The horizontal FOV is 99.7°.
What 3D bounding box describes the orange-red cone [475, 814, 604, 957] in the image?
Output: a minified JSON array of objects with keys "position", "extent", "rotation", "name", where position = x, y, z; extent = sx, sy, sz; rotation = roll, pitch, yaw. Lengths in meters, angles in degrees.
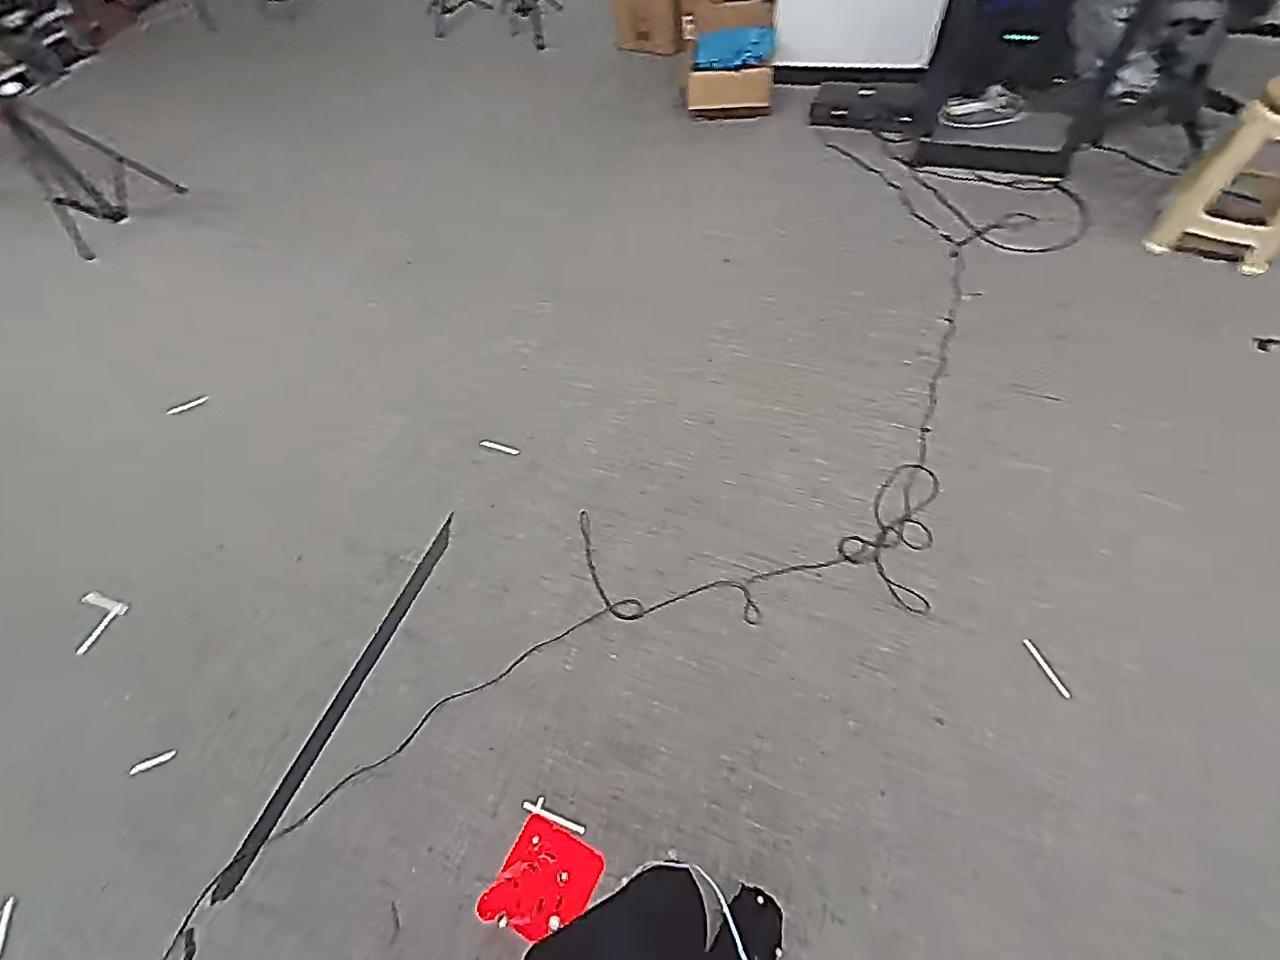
[{"position":[-0.222,0.768,1.007],"extent":[0.198,0.360,0.199],"rotation":[23,65,21],"name":"orange-red cone"}]
